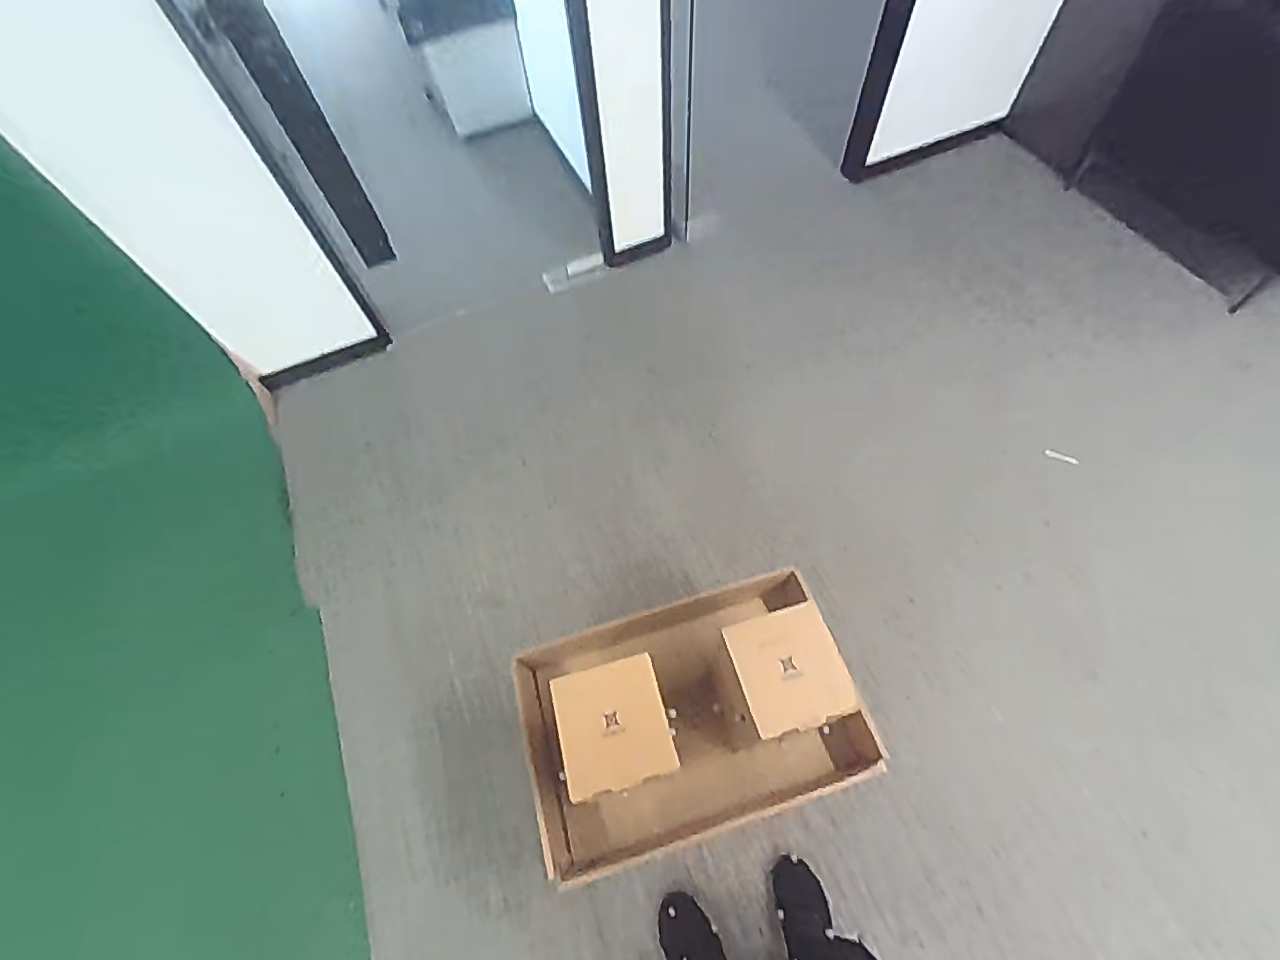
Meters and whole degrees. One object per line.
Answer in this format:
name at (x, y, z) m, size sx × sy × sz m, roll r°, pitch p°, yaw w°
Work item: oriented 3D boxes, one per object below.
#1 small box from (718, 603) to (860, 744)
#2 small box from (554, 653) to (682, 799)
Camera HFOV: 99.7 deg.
small box at (0.239, 0.333, 0.913) m, size 0.168 × 0.176 × 0.179 m, roll -15°, pitch 59°, yaw -5°
small box at (-0.035, 0.410, 0.893) m, size 0.168 × 0.176 × 0.179 m, roll -15°, pitch 61°, yaw -5°
